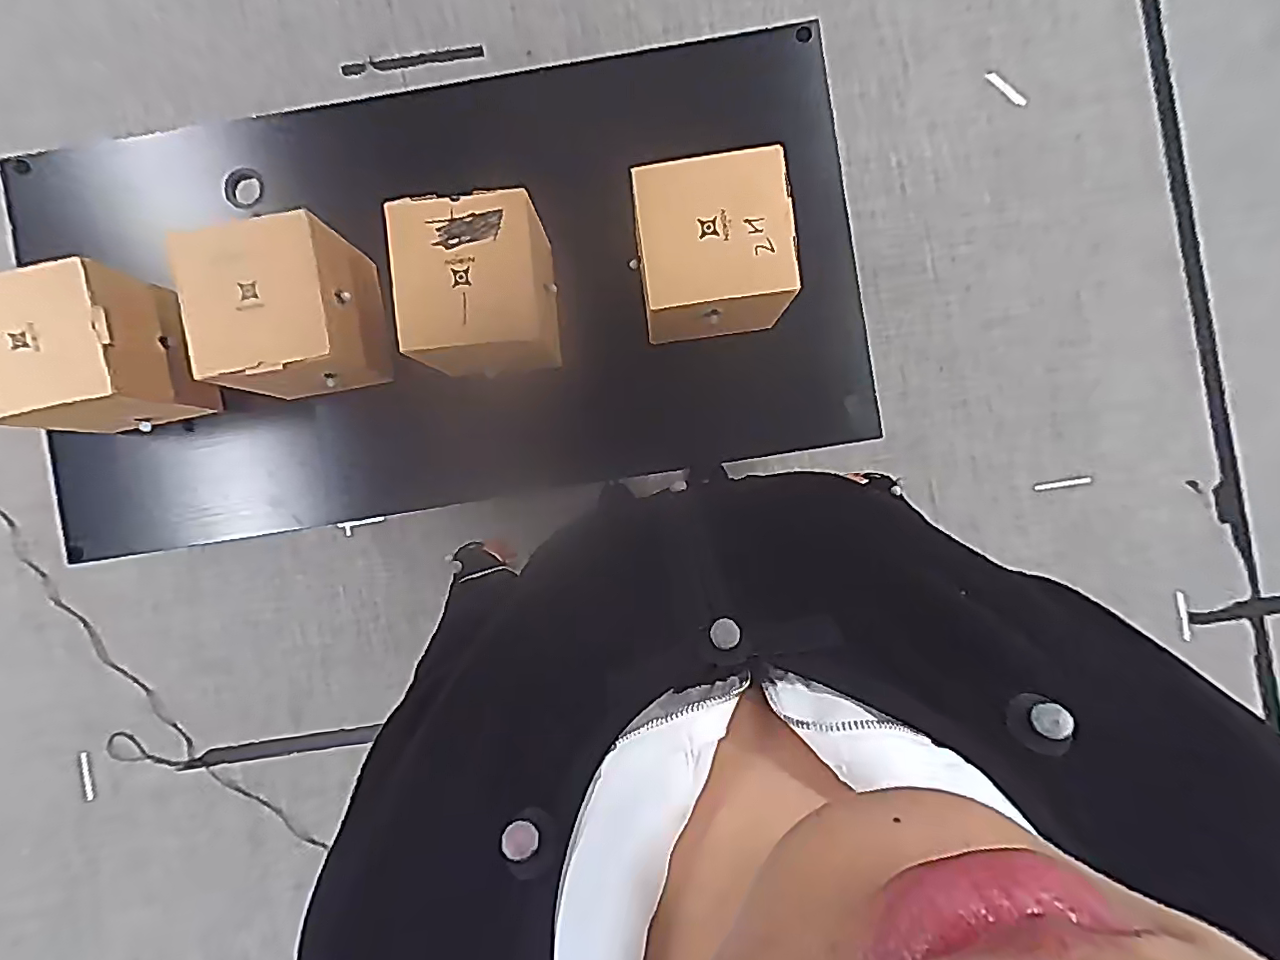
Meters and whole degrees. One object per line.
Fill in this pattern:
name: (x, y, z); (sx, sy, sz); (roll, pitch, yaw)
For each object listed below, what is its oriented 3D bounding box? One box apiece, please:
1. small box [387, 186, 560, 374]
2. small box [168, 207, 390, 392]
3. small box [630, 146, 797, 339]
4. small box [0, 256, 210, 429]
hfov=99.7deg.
small box: (-0.202, -0.245, 0.699); (0.168, 0.176, 0.179); (-6, 91, 1)
small box: (-0.450, -0.218, 0.704); (0.168, 0.176, 0.179); (-10, 90, 0)
small box: (0.086, -0.288, 0.694); (0.179, 0.176, 0.168); (-7, 91, 1)
small box: (-0.707, -0.166, 0.705); (0.179, 0.176, 0.168); (-11, 90, 0)
